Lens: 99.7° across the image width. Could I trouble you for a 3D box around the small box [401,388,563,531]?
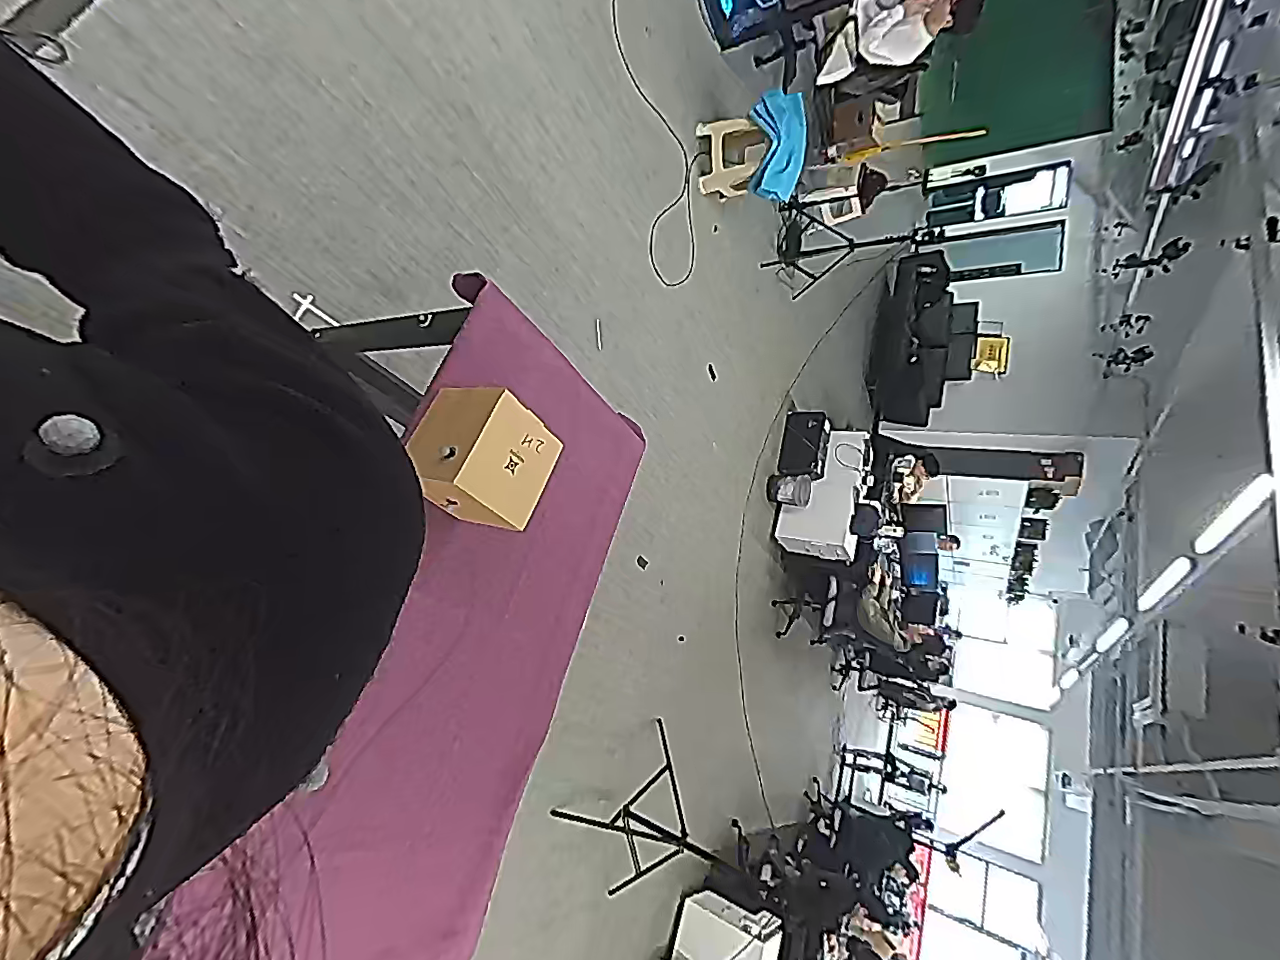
[{"bbox_3d":[-0.267,-0.036,0.911,0.168,0.176,0.179,49,55,-48],"label":"small box"}]
